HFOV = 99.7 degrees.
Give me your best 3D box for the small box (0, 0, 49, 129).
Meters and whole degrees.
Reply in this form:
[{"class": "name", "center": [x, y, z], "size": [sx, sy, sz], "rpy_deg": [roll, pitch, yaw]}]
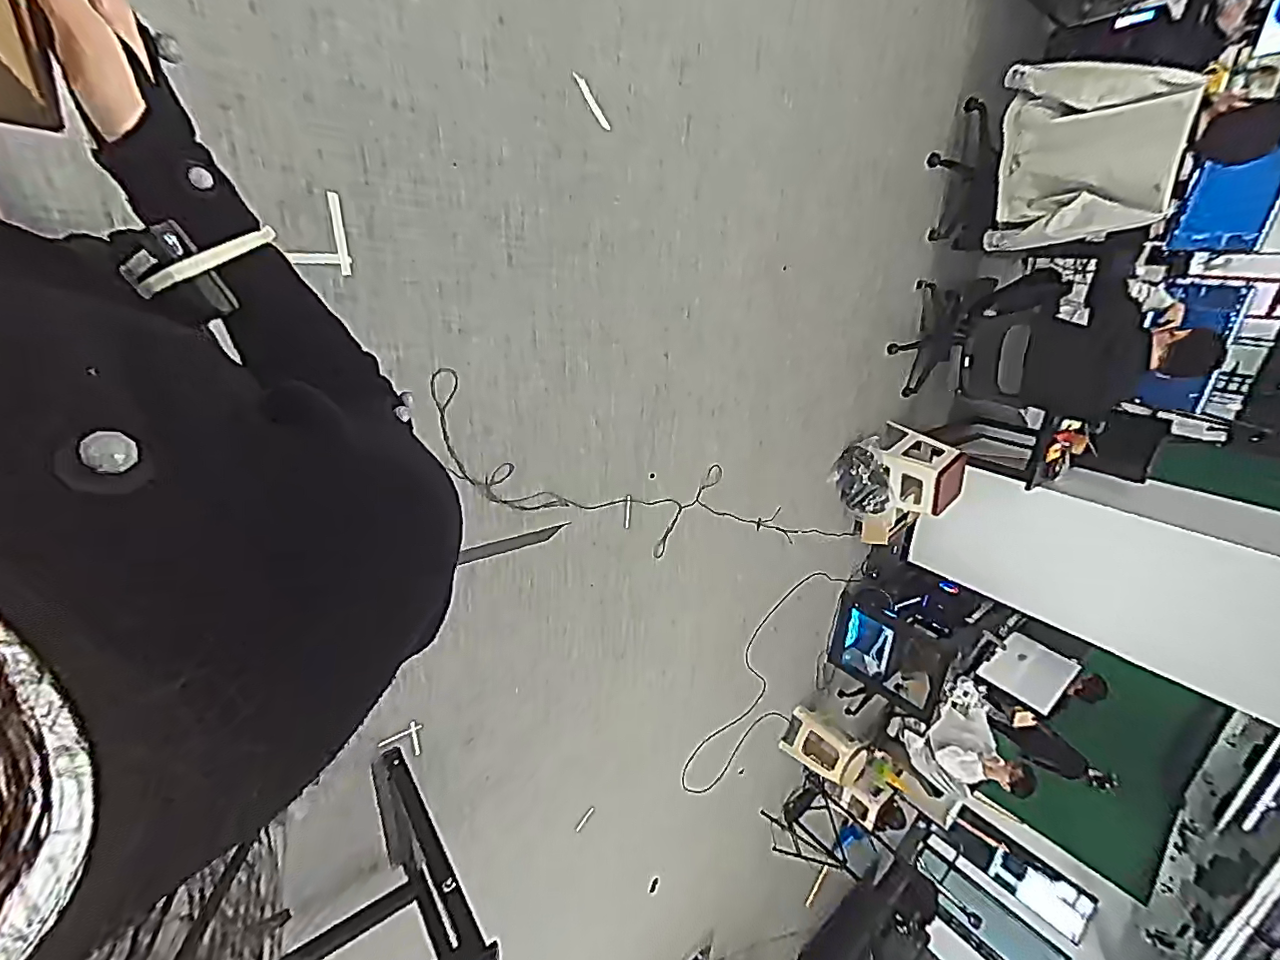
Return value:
[{"class": "small box", "center": [-0.390, -0.270, 0.219], "size": [0.179, 0.176, 0.168], "rpy_deg": [-9, 107, -35]}]
